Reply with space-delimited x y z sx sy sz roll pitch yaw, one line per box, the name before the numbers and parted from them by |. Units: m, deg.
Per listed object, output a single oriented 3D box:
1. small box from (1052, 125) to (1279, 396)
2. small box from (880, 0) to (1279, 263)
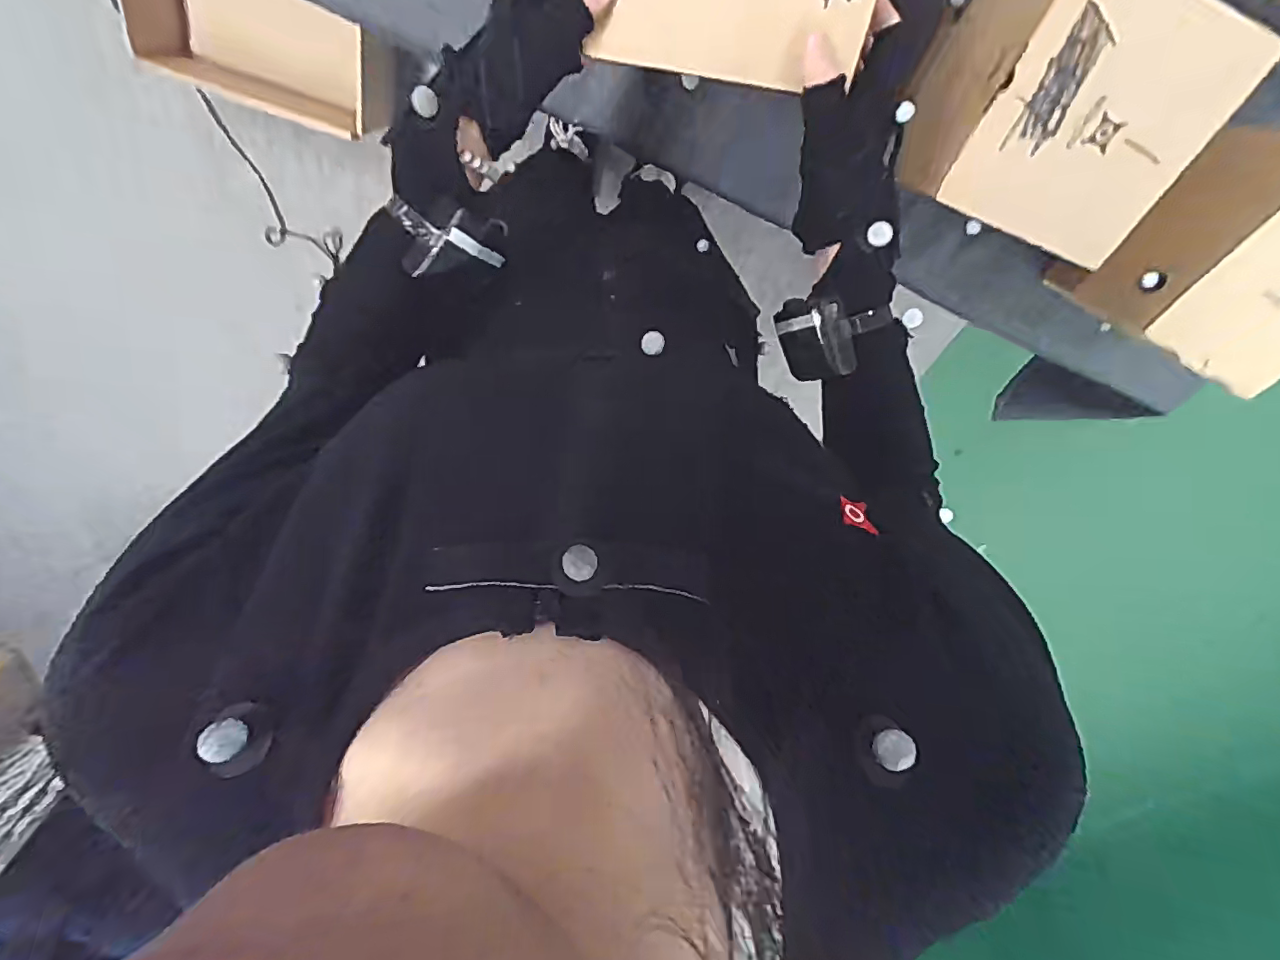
small box | 0.576 -0.222 0.538 0.168 0.176 0.179 22 126 -15
small box | 0.344 -0.317 0.464 0.179 0.176 0.168 16 127 -12
